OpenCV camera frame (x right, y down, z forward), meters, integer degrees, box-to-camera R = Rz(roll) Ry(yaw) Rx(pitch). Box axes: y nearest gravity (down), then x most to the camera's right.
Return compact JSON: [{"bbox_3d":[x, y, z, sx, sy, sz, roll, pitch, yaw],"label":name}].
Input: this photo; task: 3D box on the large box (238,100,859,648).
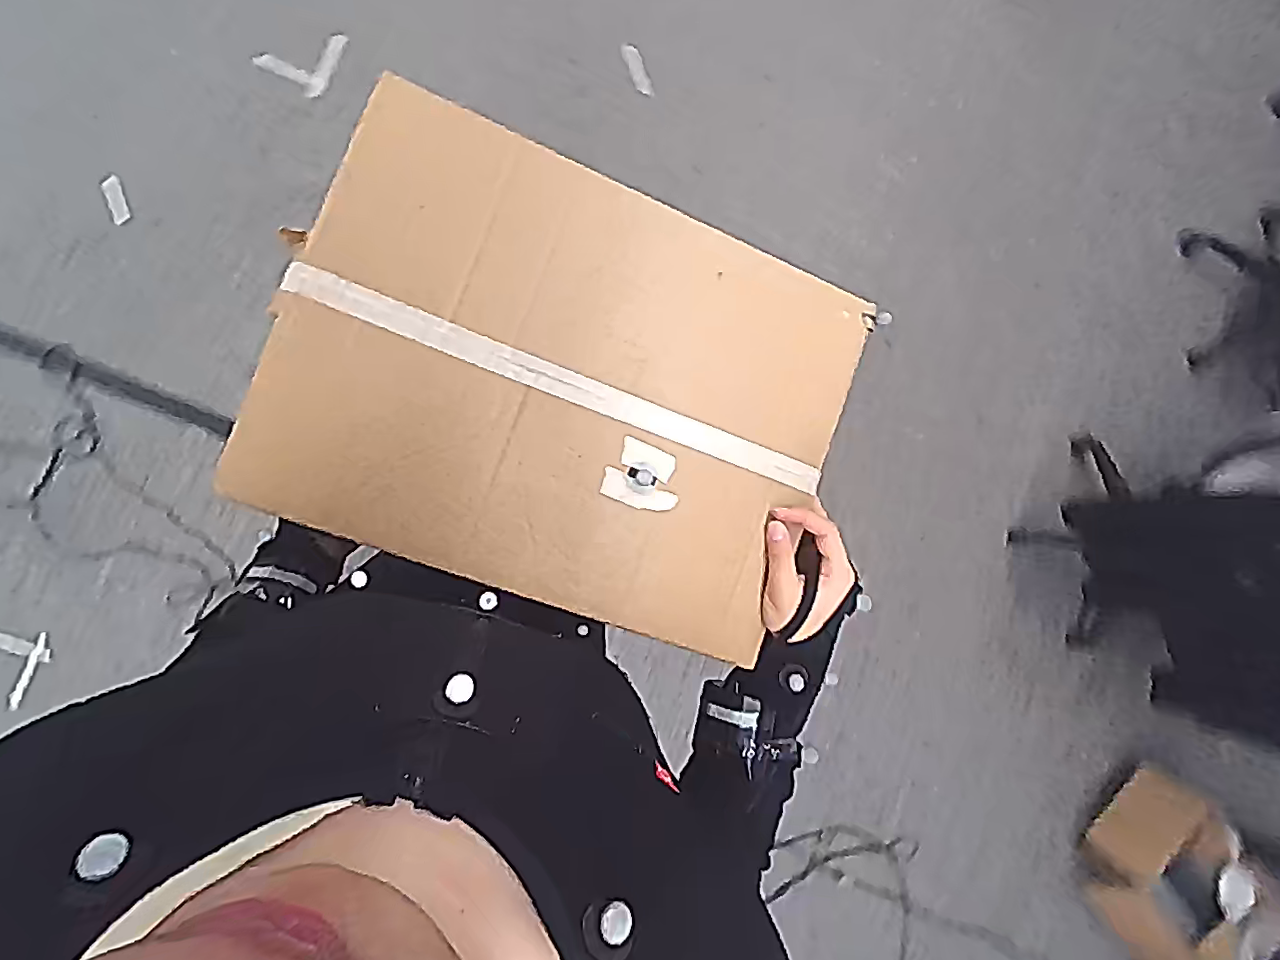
[{"bbox_3d":[-0.074,-0.067,0.555,0.408,0.320,0.320,19,87,-11],"label":"large box"}]
